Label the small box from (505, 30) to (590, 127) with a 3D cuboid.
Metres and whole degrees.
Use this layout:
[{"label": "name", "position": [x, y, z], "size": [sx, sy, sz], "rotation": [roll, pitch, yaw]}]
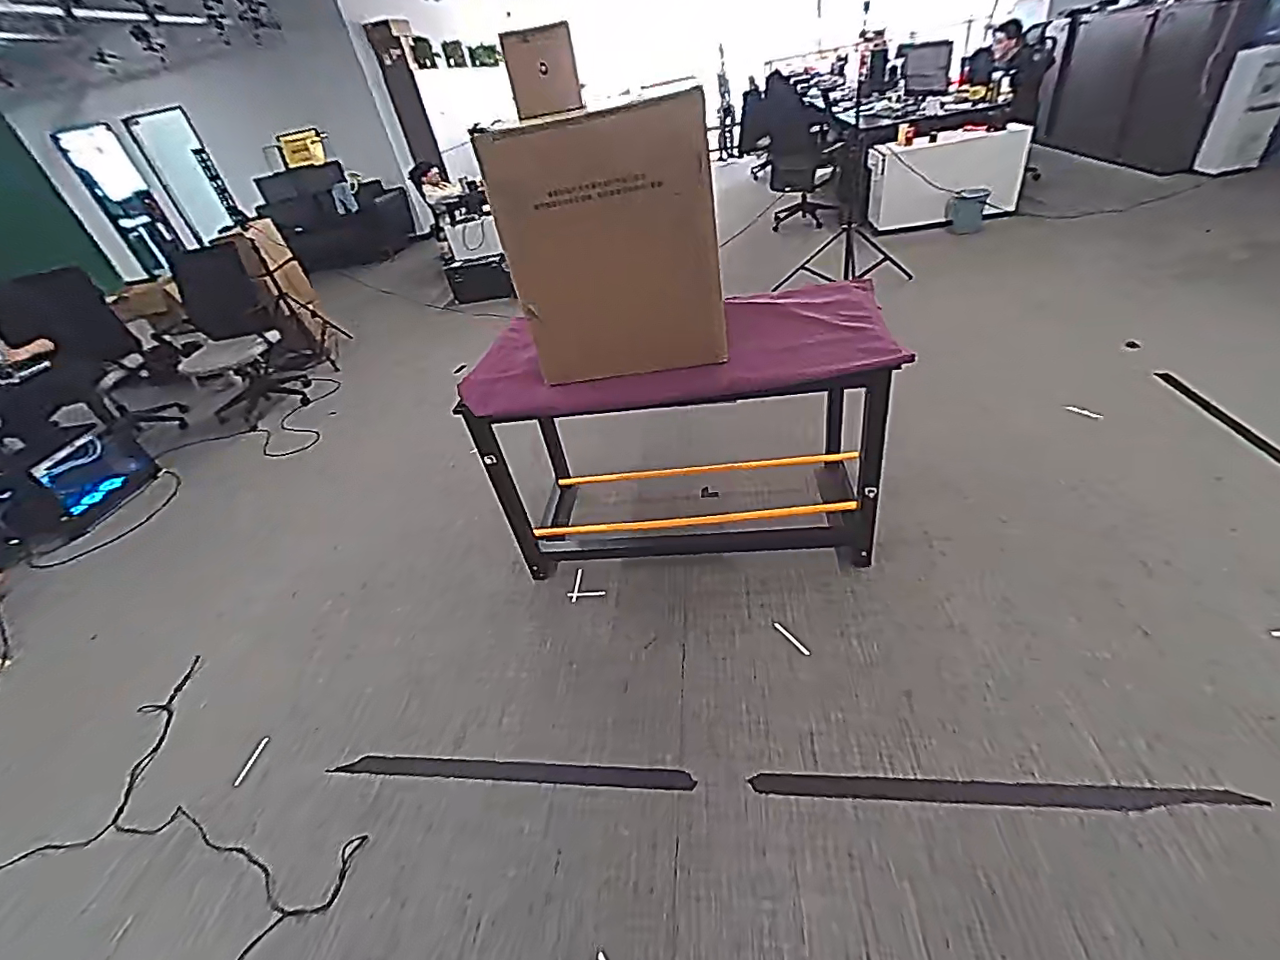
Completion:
[{"label": "small box", "position": [-0.223, -0.993, 1.338], "size": [0.168, 0.176, 0.179], "rotation": [-7, 37, 4]}]
